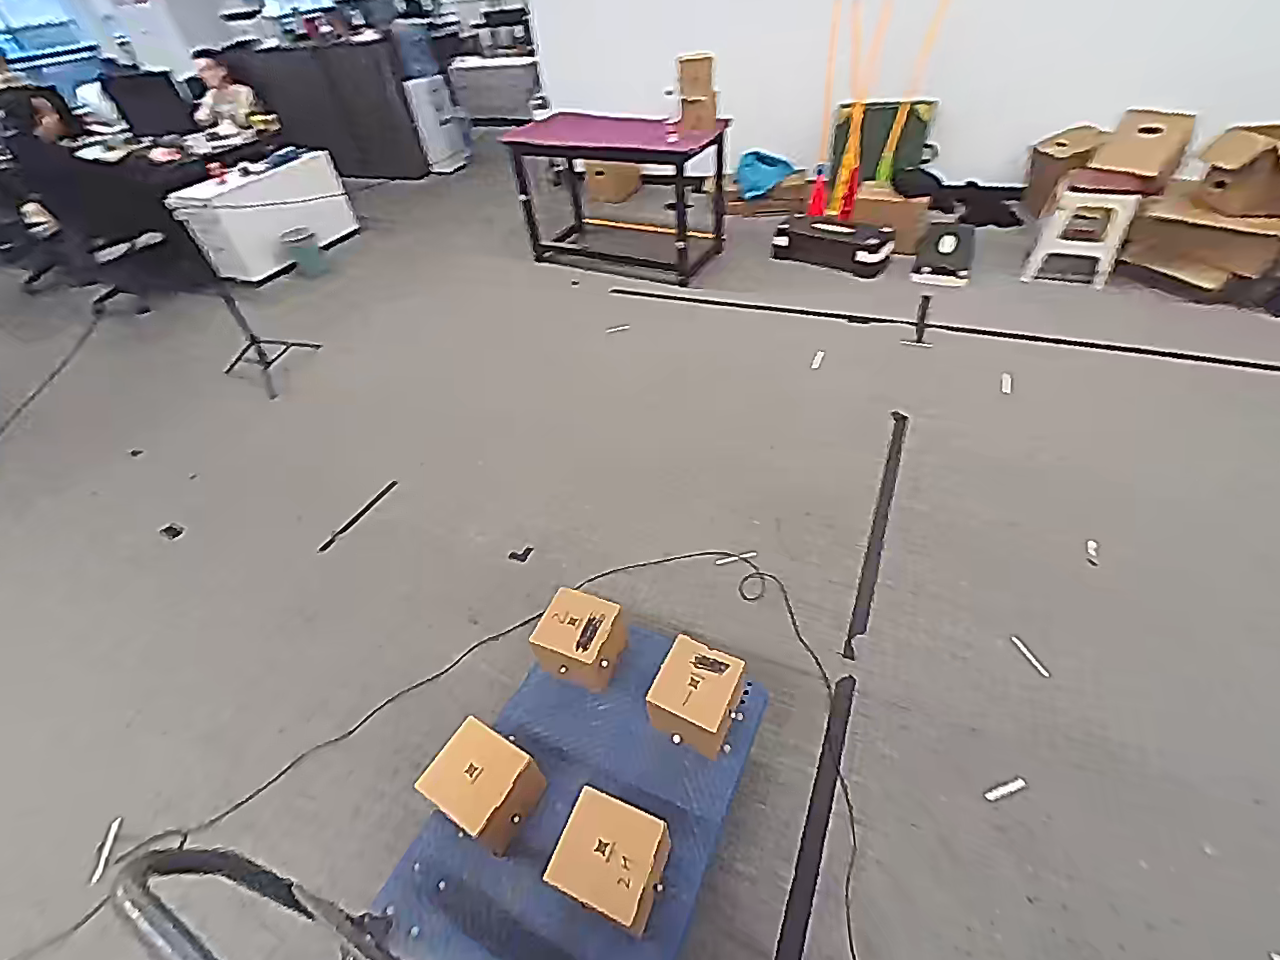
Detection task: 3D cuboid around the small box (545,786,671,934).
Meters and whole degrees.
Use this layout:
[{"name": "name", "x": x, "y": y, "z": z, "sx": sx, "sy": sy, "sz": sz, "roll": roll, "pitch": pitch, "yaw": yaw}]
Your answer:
[{"name": "small box", "x": -0.052, "y": 0.726, "z": 1.030, "sx": 0.179, "sy": 0.176, "sz": 0.168, "roll": 14, "pitch": 48, "yaw": 20}]

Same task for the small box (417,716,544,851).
[{"name": "small box", "x": -0.328, "y": 0.646, "z": 1.146, "sx": 0.179, "sy": 0.176, "sz": 0.168, "roll": 21, "pitch": 50, "yaw": 24}]

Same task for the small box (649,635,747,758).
[{"name": "small box", "x": 0.133, "y": 0.497, "z": 1.240, "sx": 0.168, "sy": 0.176, "sz": 0.179, "roll": 18, "pitch": 51, "yaw": 23}]
